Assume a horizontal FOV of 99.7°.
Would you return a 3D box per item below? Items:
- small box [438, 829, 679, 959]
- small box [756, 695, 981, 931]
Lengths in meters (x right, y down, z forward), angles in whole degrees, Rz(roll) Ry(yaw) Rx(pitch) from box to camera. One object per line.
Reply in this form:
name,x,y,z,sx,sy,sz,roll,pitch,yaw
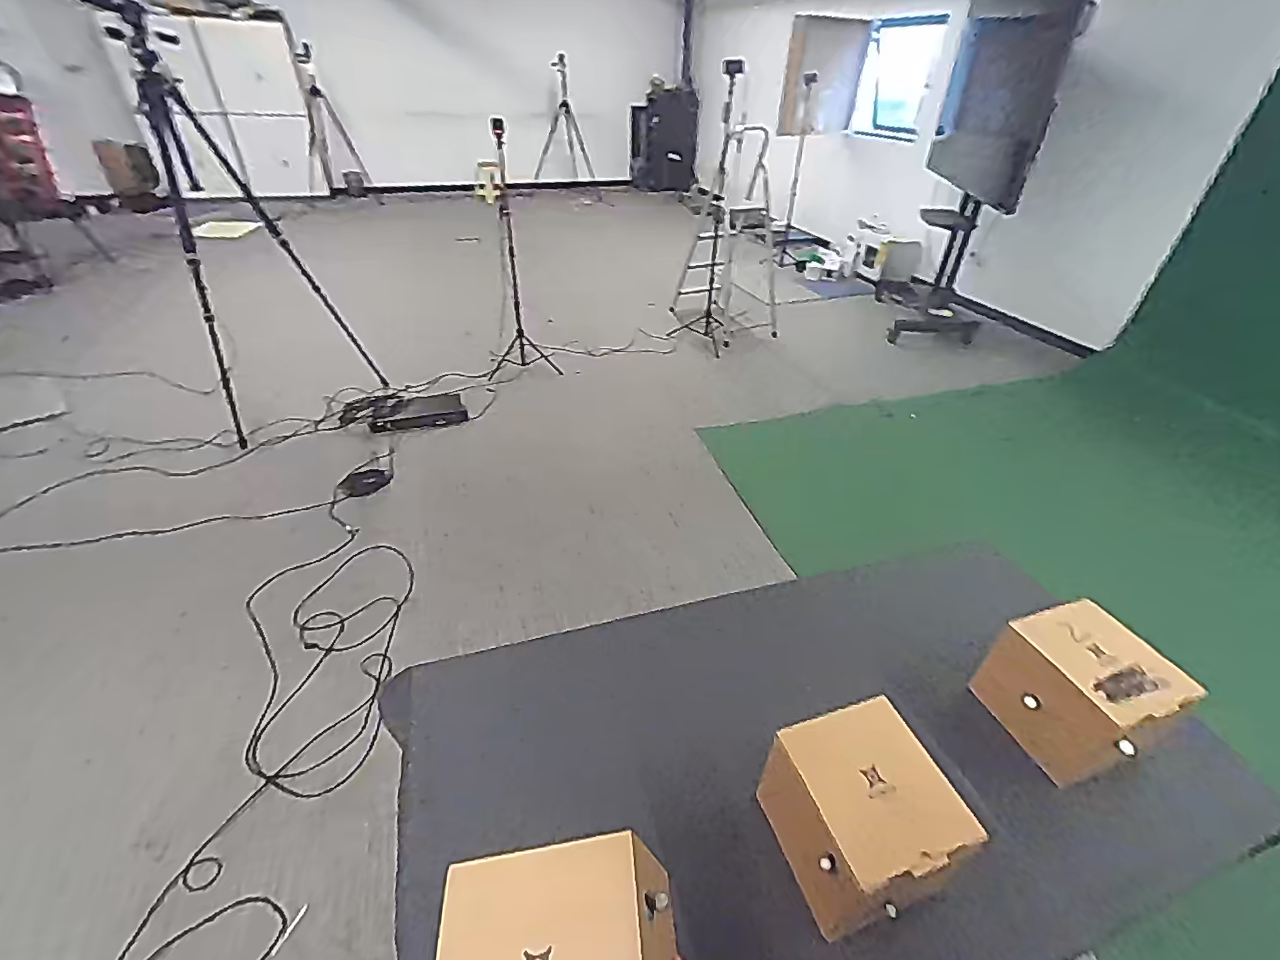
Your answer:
small box,-0.059,0.423,0.449,0.168,0.176,0.179,-13,43,4
small box,0.263,0.409,0.674,0.168,0.176,0.179,-10,40,-17
